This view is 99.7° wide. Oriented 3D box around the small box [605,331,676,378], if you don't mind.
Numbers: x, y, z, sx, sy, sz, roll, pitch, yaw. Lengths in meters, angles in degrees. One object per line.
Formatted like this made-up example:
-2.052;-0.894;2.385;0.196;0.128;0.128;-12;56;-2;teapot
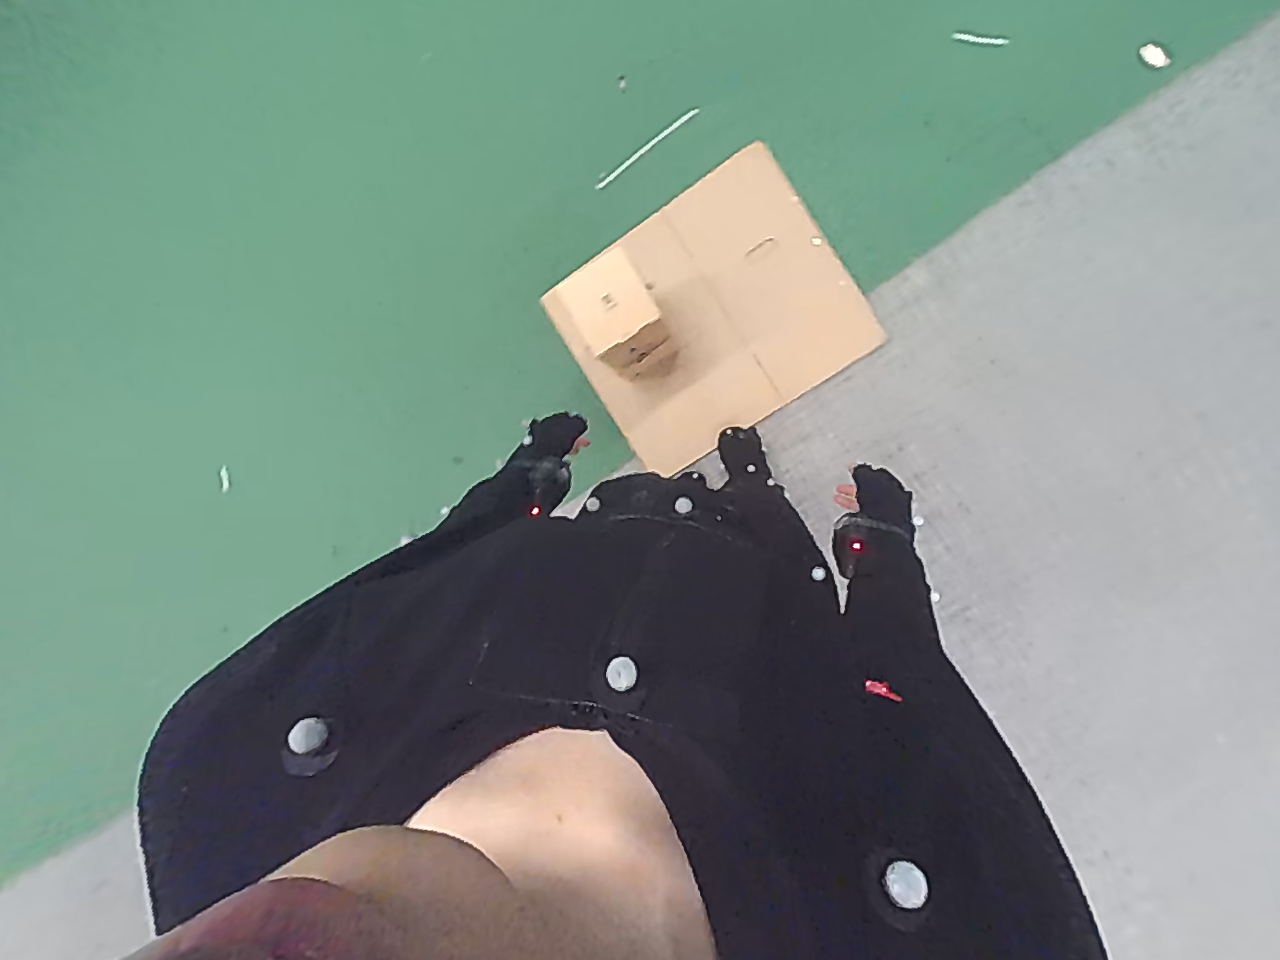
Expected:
-0.024;-0.372;1.362;0.168;0.176;0.179;-32;87;11;small box

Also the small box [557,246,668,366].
-0.054;-0.374;1.202;0.168;0.176;0.179;-30;89;10;small box
